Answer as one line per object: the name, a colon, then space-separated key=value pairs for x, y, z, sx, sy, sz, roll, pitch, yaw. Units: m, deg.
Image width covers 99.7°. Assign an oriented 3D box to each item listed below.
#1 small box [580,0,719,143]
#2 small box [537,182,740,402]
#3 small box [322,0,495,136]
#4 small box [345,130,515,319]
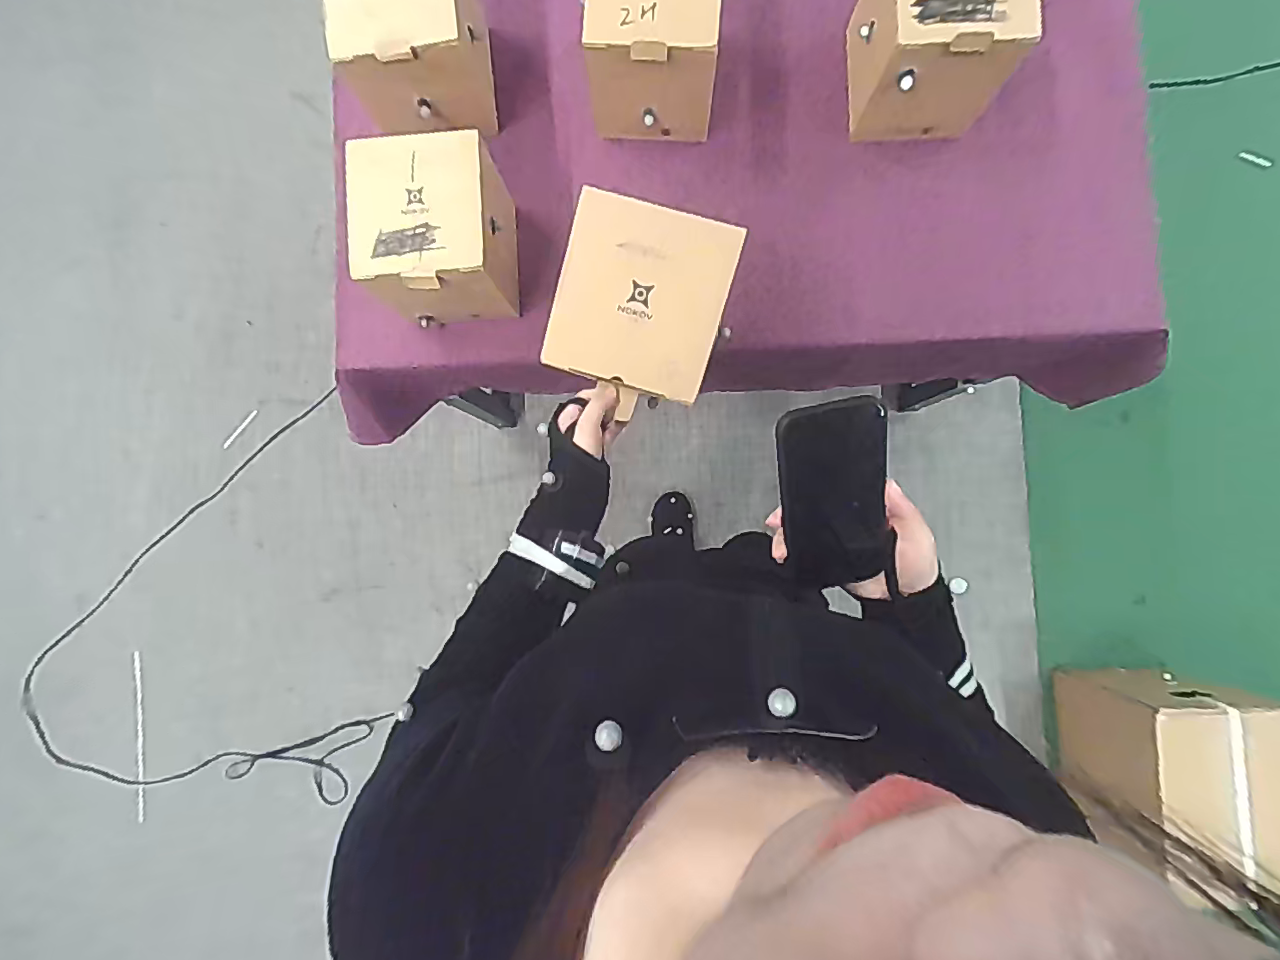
small box: x=0.018 y=-0.599 z=0.731 sx=0.168 sy=0.176 sz=0.179 roll=5 pitch=88 yaw=3
small box: x=0.003 y=-0.194 z=0.609 sx=0.168 sy=0.176 sz=0.179 roll=17 pitch=99 yaw=2
small box: x=-0.308 y=-0.603 z=0.745 sx=0.168 sy=0.176 sz=0.179 roll=-6 pitch=88 yaw=1
small box: x=-0.271 y=-0.327 z=0.729 sx=0.168 sy=0.176 sz=0.179 roll=-3 pitch=85 yaw=2
